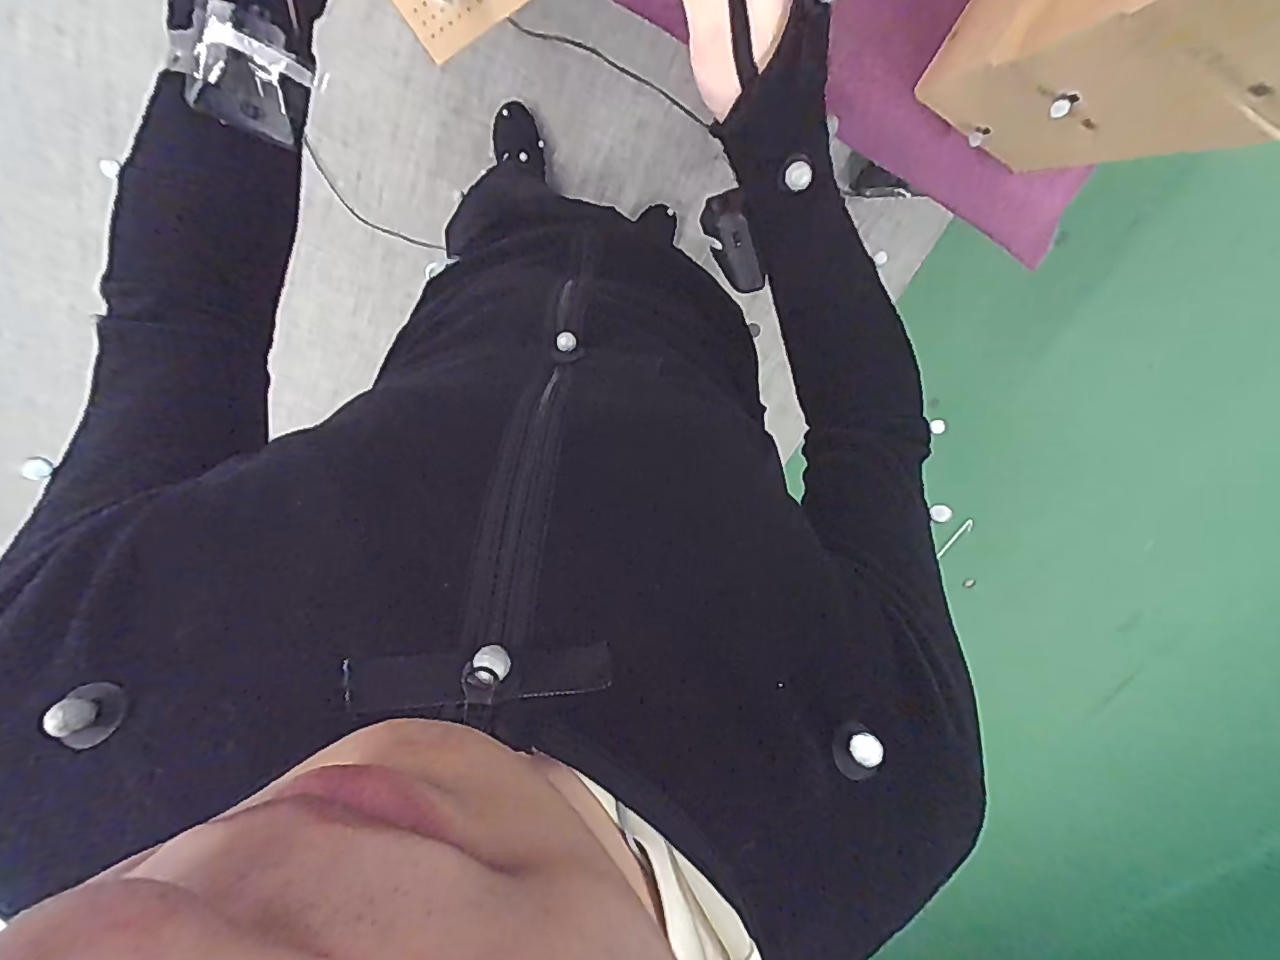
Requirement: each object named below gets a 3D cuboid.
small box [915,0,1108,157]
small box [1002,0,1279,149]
[{"bbox_3d":[0.441,-0.470,0.572,0.179,0.176,0.168,27,114,-12],"label":"small box"},{"bbox_3d":[0.444,-0.397,0.425,0.168,0.176,0.179,27,114,-10],"label":"small box"}]
